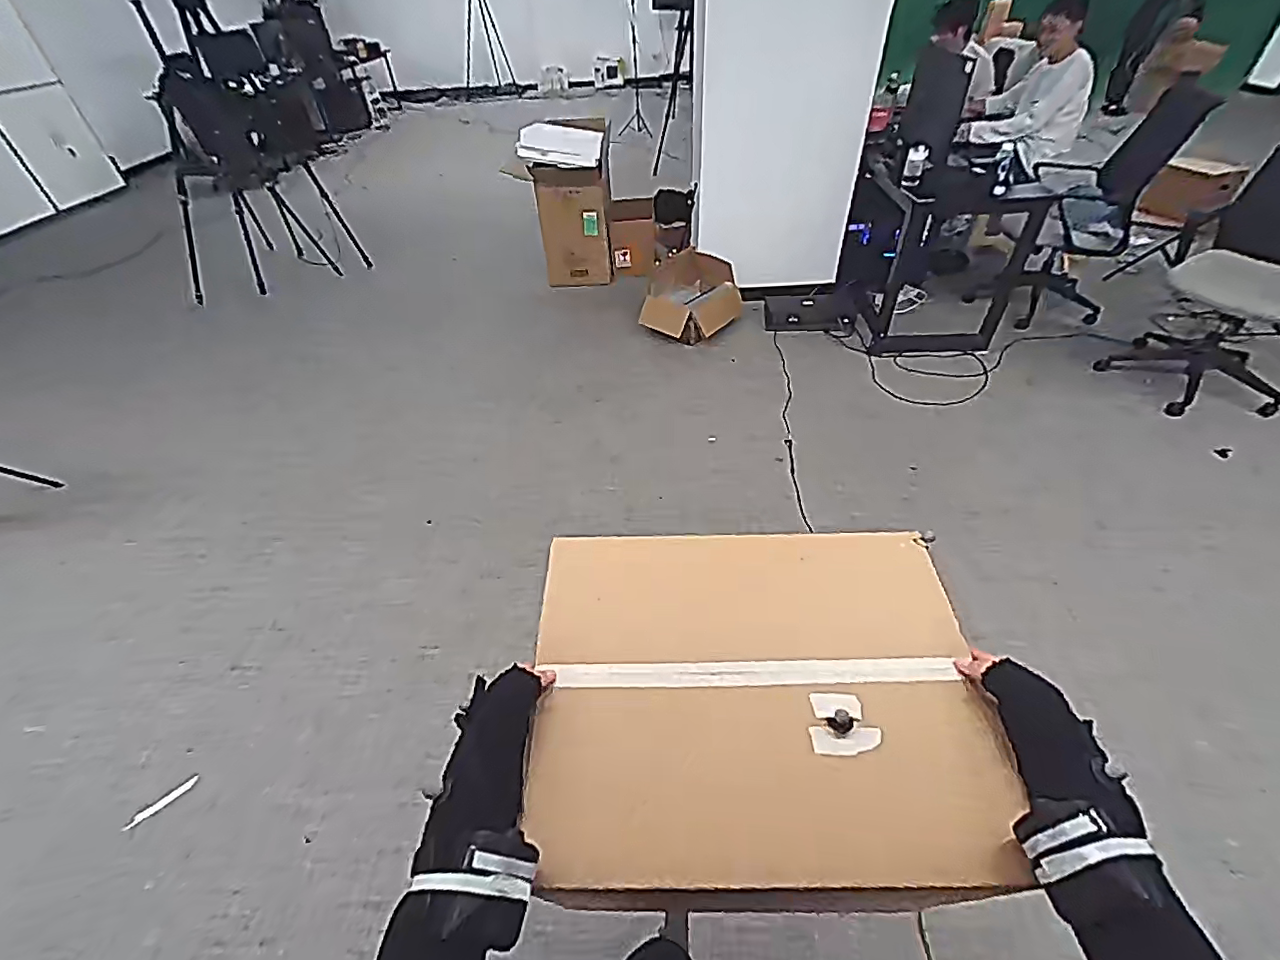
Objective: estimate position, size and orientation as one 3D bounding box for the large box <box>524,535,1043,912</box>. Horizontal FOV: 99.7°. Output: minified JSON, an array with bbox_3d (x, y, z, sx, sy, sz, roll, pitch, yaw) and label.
[{"bbox_3d":[0.108,0.279,0.615,0.408,0.320,0.320,-1,49,1],"label":"large box"}]
